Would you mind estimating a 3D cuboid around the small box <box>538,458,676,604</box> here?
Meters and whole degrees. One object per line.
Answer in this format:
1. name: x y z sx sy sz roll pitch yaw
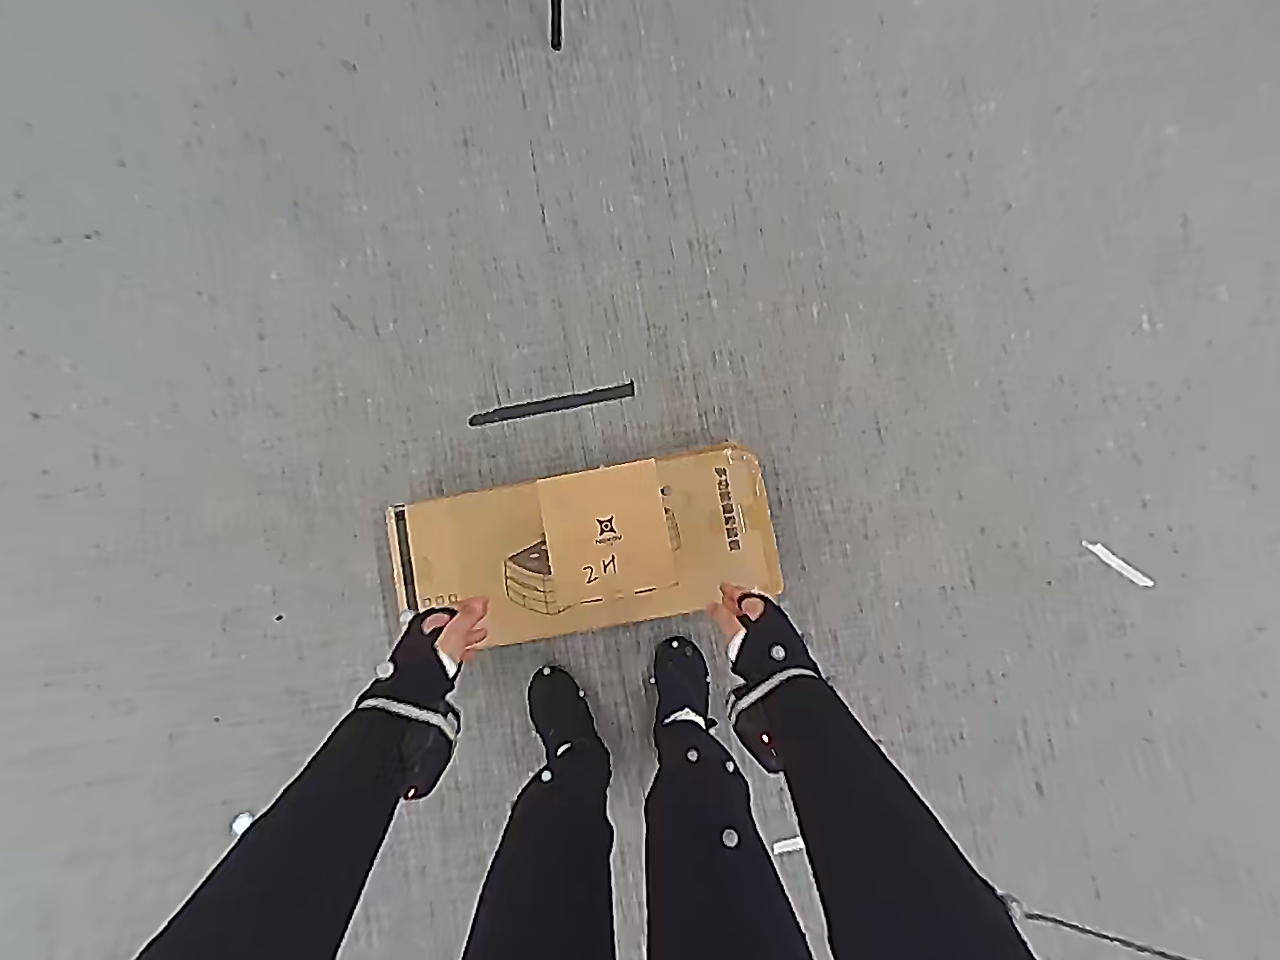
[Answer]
1. small box: -0.046 0.075 0.806 0.168 0.176 0.179 -11 86 0
